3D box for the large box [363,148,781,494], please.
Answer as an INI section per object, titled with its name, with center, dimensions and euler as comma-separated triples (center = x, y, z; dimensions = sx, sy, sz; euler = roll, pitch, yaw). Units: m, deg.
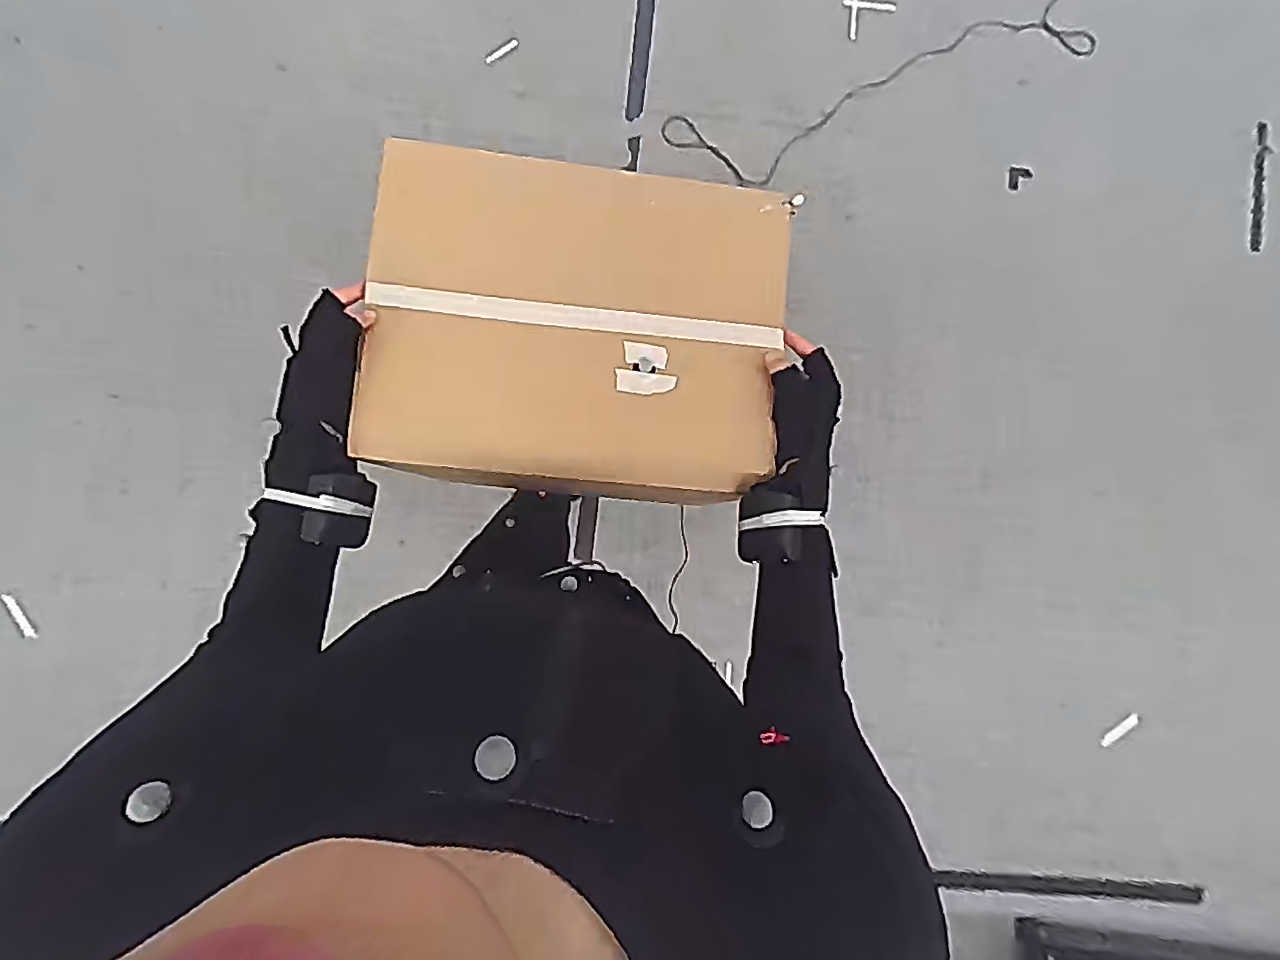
[large box]
center = -0.075, -0.153, 0.689
dimensions = 0.408, 0.320, 0.320
euler = 5, 87, -6
